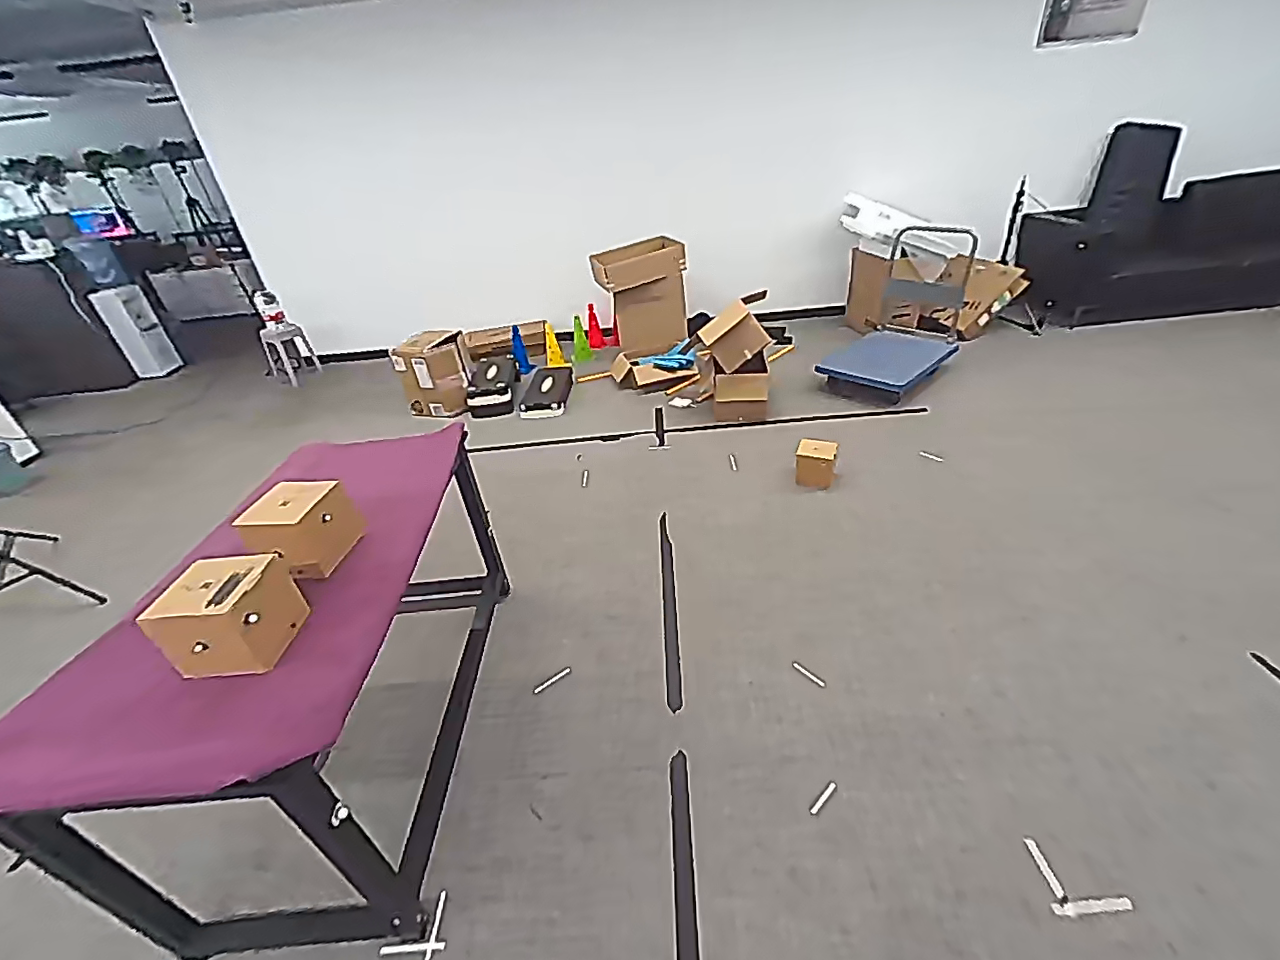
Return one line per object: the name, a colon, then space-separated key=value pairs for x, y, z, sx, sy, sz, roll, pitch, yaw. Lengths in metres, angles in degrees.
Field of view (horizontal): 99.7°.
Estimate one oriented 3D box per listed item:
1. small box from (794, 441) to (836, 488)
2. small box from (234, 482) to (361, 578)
small box: x=0.872 y=-0.076 z=2.701 sx=0.179 sy=0.176 sz=0.168 roll=10 pitch=36 yaw=23
small box: x=-0.817 y=0.123 z=1.316 sx=0.168 sy=0.176 sz=0.179 roll=-1 pitch=33 yaw=8
